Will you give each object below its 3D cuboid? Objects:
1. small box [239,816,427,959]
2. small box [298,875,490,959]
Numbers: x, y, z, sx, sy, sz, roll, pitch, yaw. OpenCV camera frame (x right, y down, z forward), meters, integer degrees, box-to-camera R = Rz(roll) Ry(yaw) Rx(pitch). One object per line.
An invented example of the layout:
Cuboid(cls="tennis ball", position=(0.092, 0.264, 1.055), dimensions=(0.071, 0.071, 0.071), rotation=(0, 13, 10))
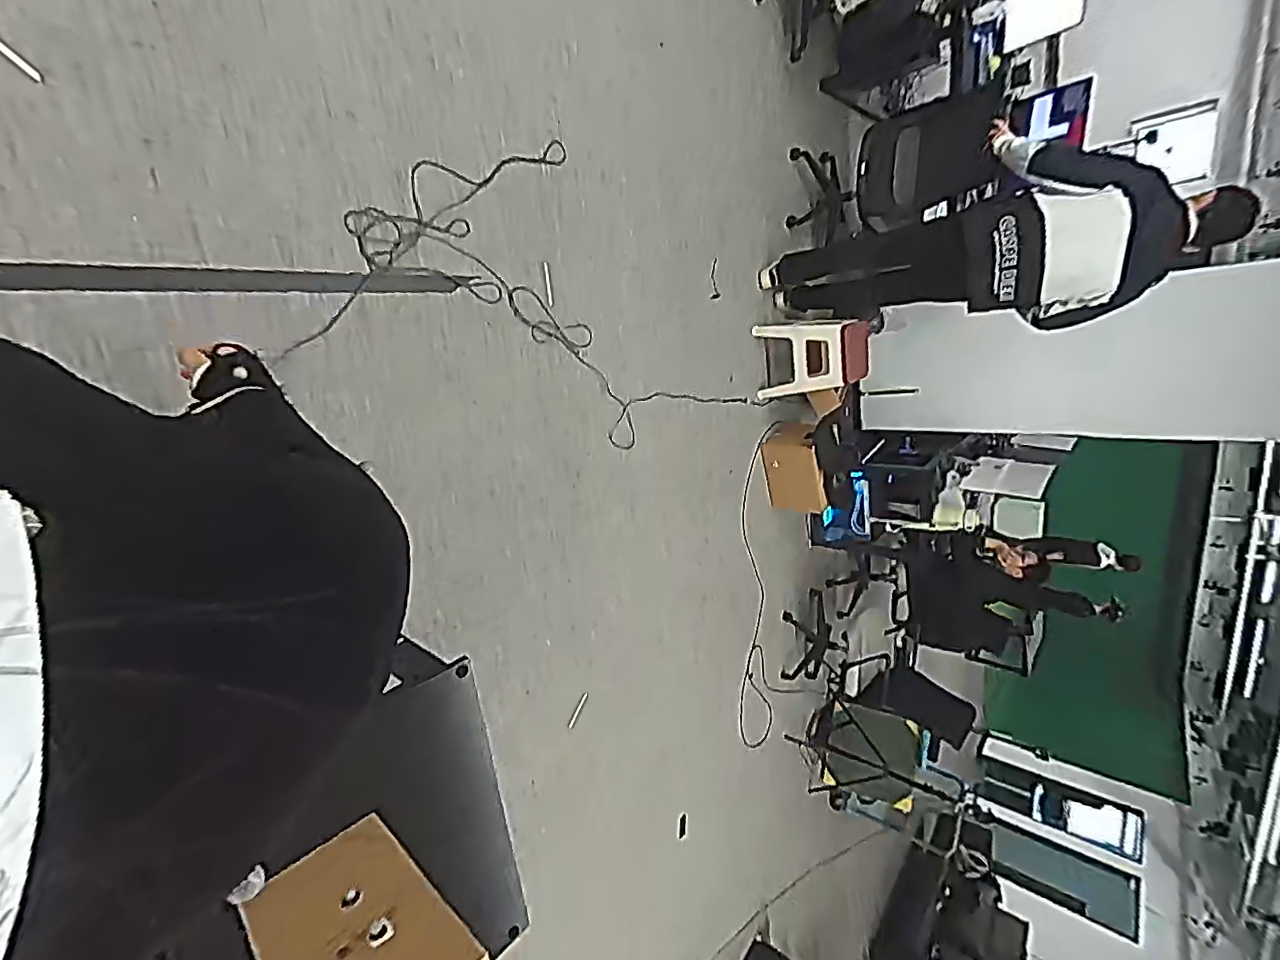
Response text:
Cuboid(cls="small box", position=(-0.396, 0.602, 0.722), dimensions=(0.179, 0.176, 0.168), rotation=(-20, 109, -44))
Cuboid(cls="small box", position=(-0.274, 0.612, 0.615), dimensions=(0.168, 0.176, 0.179), rotation=(-22, 110, -46))
